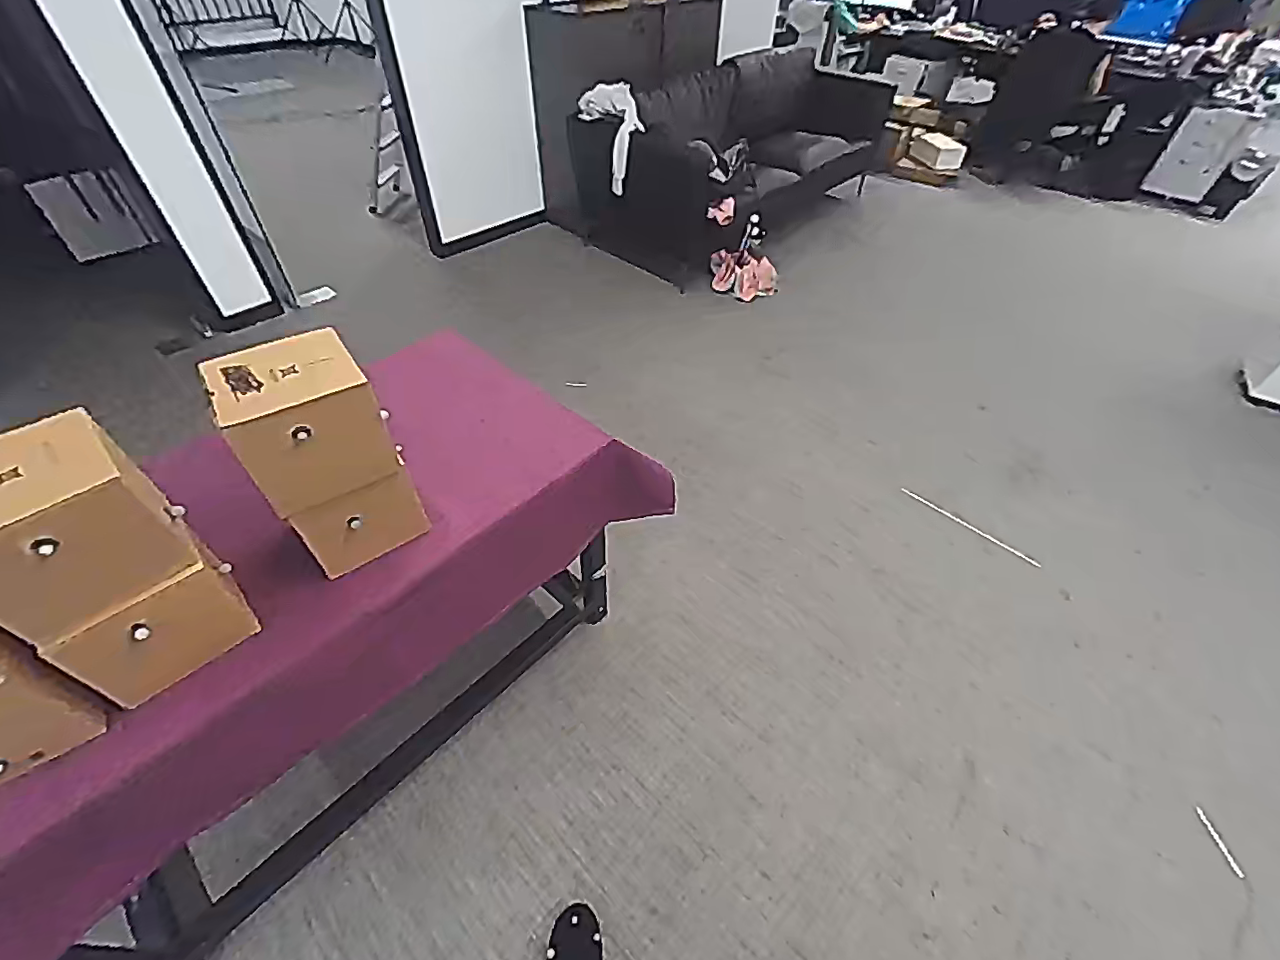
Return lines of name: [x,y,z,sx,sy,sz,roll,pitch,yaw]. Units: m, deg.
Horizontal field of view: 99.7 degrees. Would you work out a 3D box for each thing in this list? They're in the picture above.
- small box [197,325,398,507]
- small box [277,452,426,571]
small box: [-0.479,-0.091,0.773,0.179,0.176,0.168,-27,53,-26]
small box: [-0.487,0.018,0.896,0.179,0.176,0.168,-30,55,-26]
